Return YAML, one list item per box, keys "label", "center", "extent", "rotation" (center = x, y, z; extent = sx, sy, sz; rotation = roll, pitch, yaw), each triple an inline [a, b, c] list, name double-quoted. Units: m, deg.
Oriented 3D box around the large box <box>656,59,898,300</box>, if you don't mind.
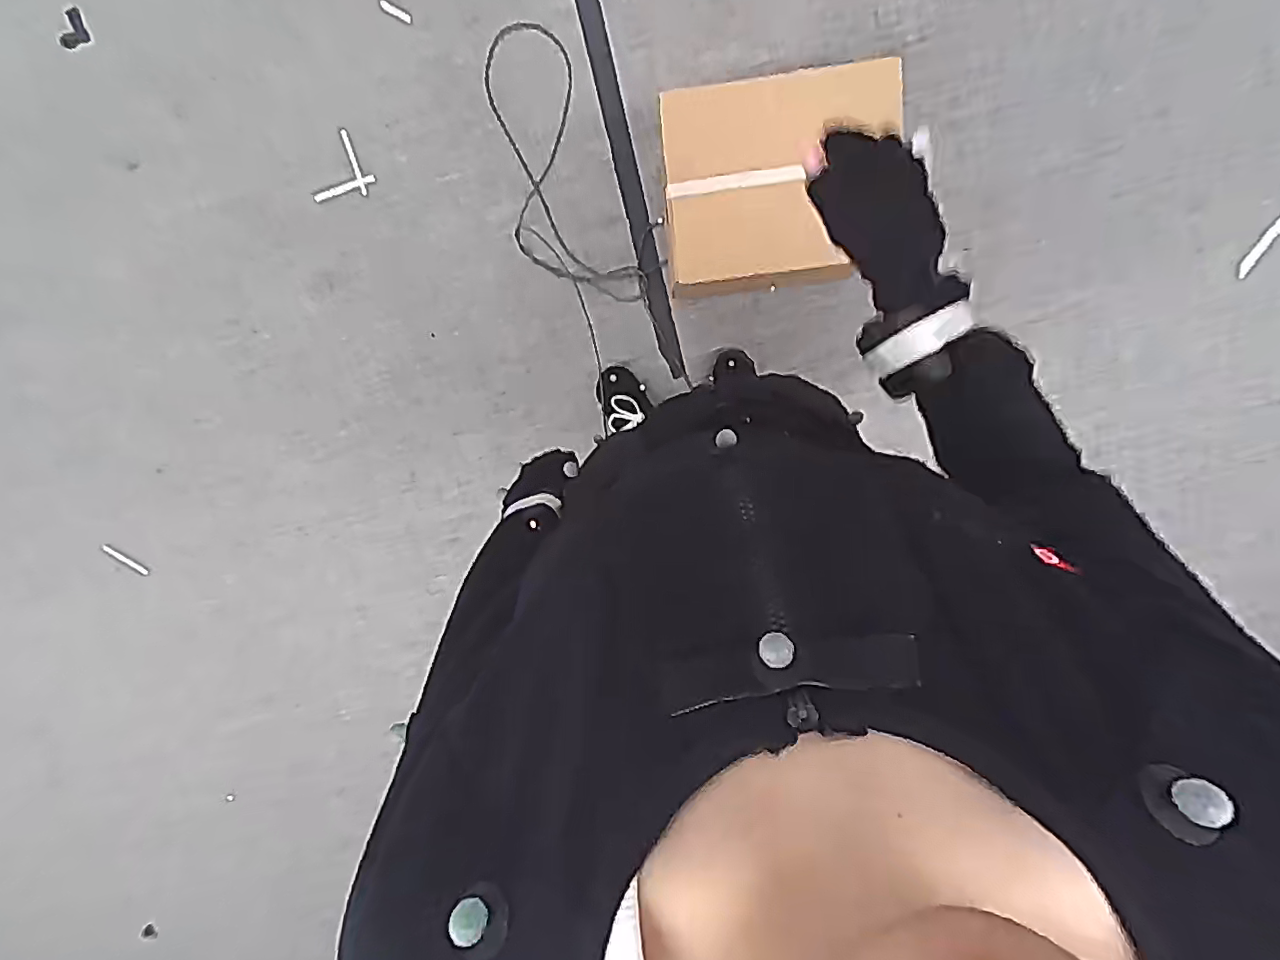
- label: "large box"
  center: [0.250, -0.563, 1.090]
  extent: [0.408, 0.320, 0.320]
  rotation: [-6, 103, 4]
